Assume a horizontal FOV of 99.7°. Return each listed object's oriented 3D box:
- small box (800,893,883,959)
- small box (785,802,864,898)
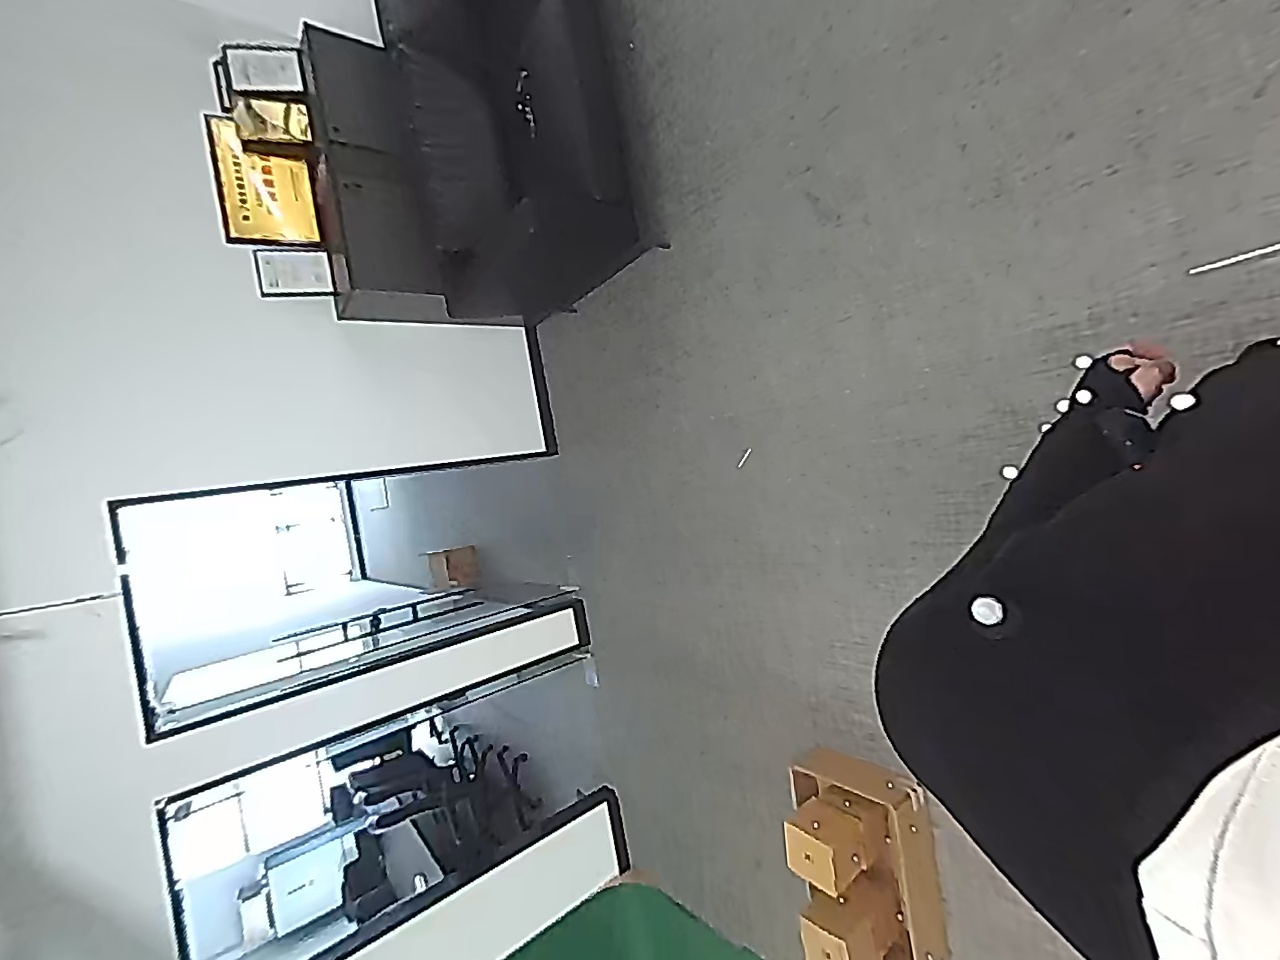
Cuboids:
[{"bbox_3d":[0.649,1.475,1.740,0.179,0.176,0.168,-12,89,52],"label":"small box"},{"bbox_3d":[0.596,1.180,1.746,0.179,0.176,0.168,-2,96,50],"label":"small box"}]
